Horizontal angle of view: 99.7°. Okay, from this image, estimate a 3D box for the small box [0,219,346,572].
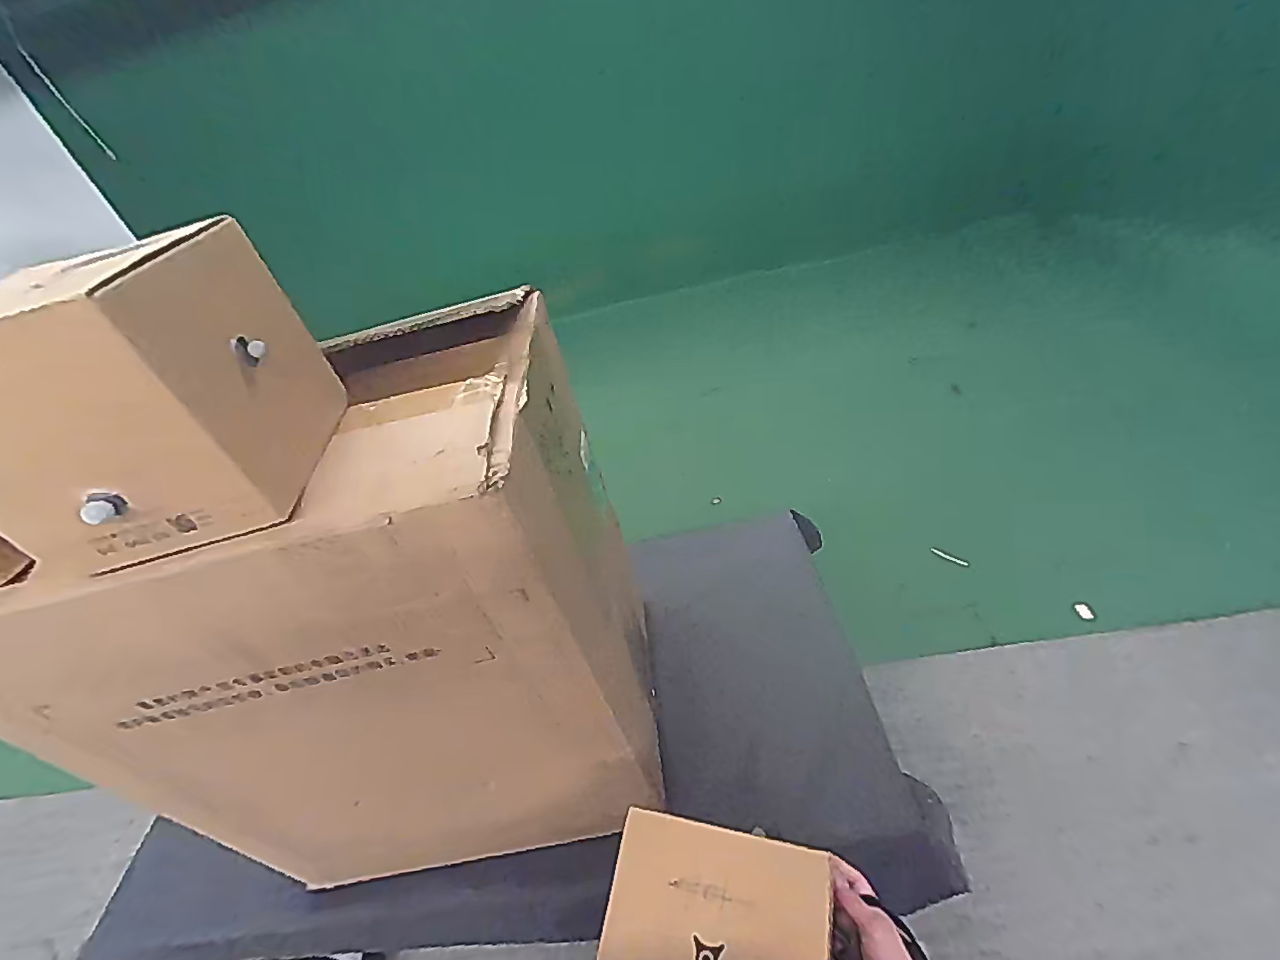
[{"bbox_3d":[-0.349,-0.064,0.393,0.168,0.176,0.179,-15,40,1],"label":"small box"}]
